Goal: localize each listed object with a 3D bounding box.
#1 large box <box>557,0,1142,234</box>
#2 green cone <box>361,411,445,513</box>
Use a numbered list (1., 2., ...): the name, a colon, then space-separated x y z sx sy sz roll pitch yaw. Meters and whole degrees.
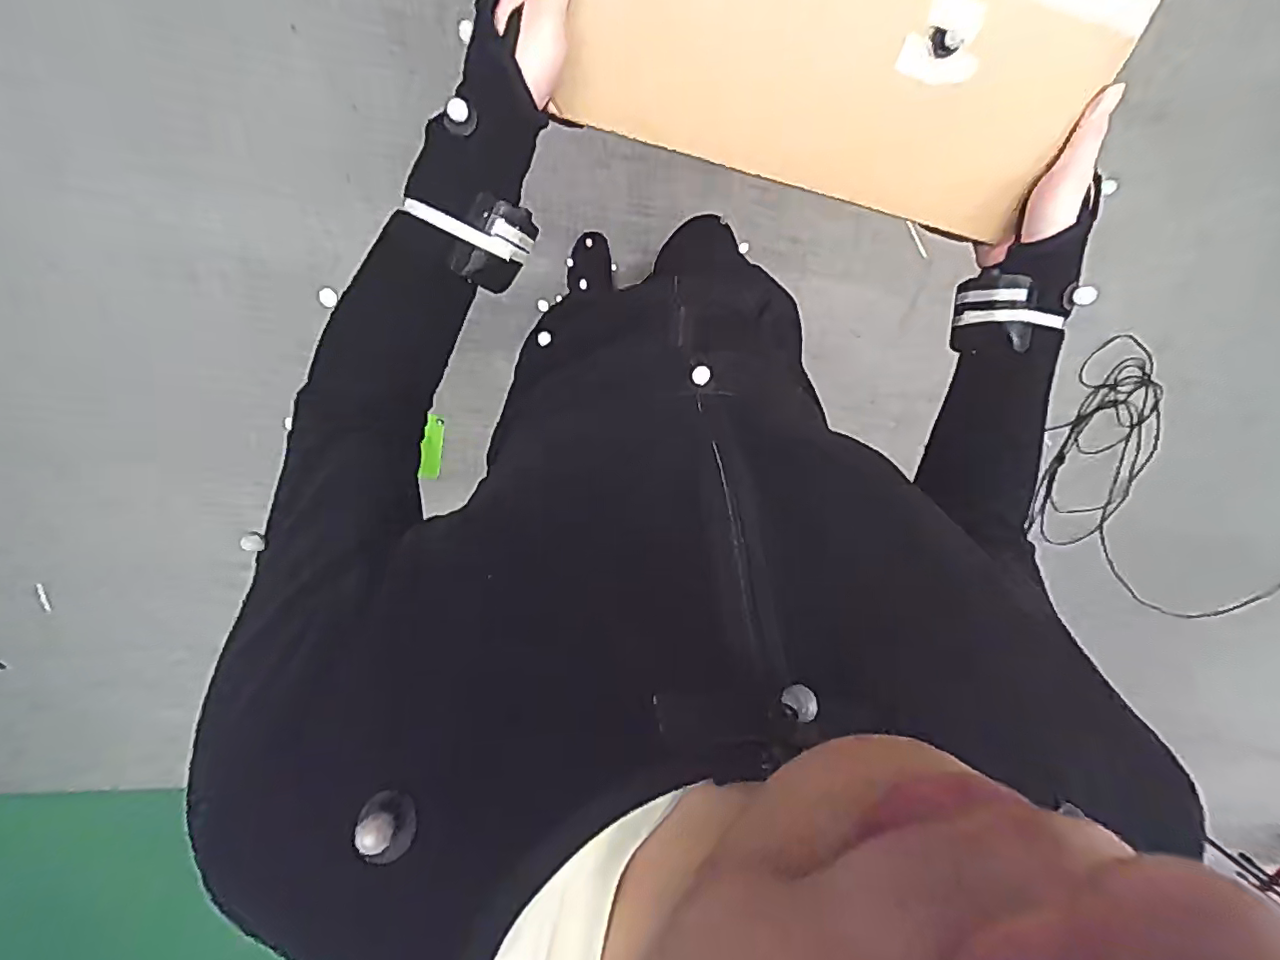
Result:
1. large box: 0.152 -0.454 0.472 0.408 0.320 0.320 9 128 -10
2. green cone: -0.656 -0.022 1.421 0.200 0.368 0.202 9 114 -12
